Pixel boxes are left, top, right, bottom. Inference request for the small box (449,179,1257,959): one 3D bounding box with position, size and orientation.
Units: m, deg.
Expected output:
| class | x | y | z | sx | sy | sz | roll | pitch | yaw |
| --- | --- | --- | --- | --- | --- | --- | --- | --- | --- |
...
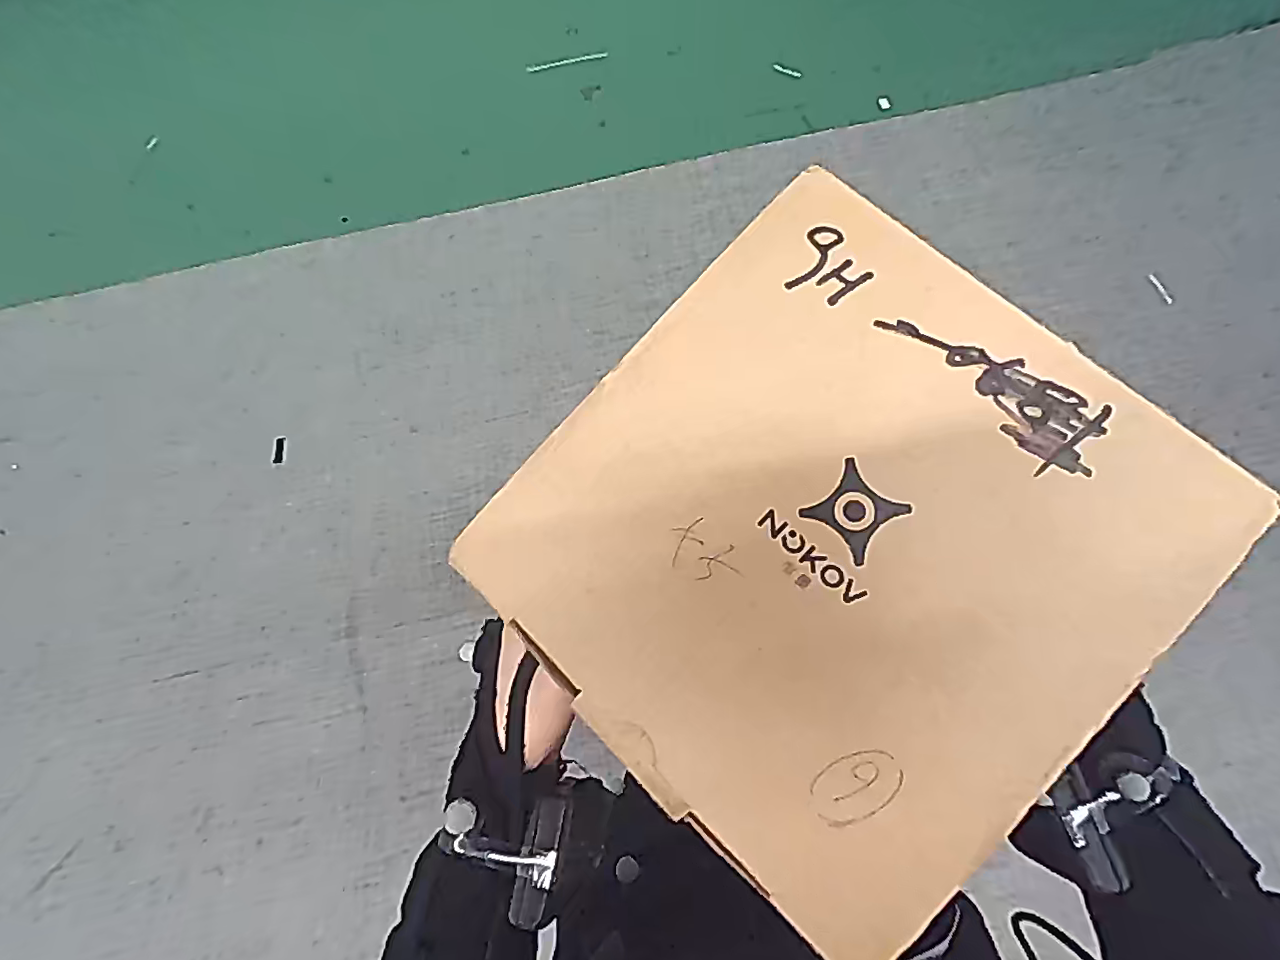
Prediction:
| class | x | y | z | sx | sy | sz | roll | pitch | yaw |
| --- | --- | --- | --- | --- | --- | --- | --- | --- | --- |
| small box | 0.063 | 0.028 | 0.239 | 0.168 | 0.176 | 0.179 | 43 | 89 | 11 |
